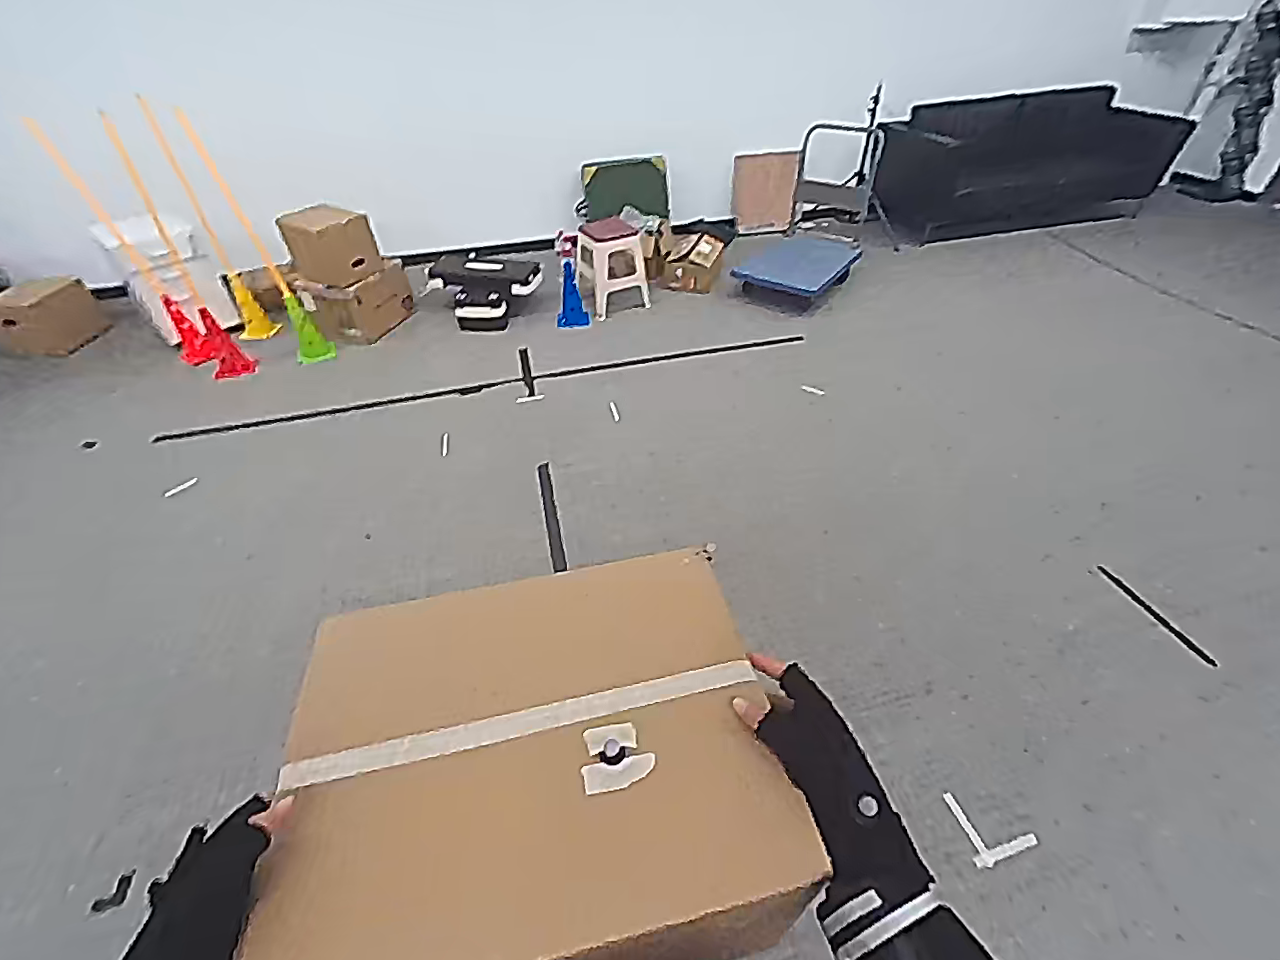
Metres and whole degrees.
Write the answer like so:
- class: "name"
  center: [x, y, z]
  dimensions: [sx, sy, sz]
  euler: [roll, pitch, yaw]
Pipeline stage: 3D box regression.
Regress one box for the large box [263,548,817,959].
- class: "large box"
  center: [-0.086, 0.321, 0.584]
  dimensions: [0.408, 0.320, 0.320]
  euler: [-9, 43, -8]
